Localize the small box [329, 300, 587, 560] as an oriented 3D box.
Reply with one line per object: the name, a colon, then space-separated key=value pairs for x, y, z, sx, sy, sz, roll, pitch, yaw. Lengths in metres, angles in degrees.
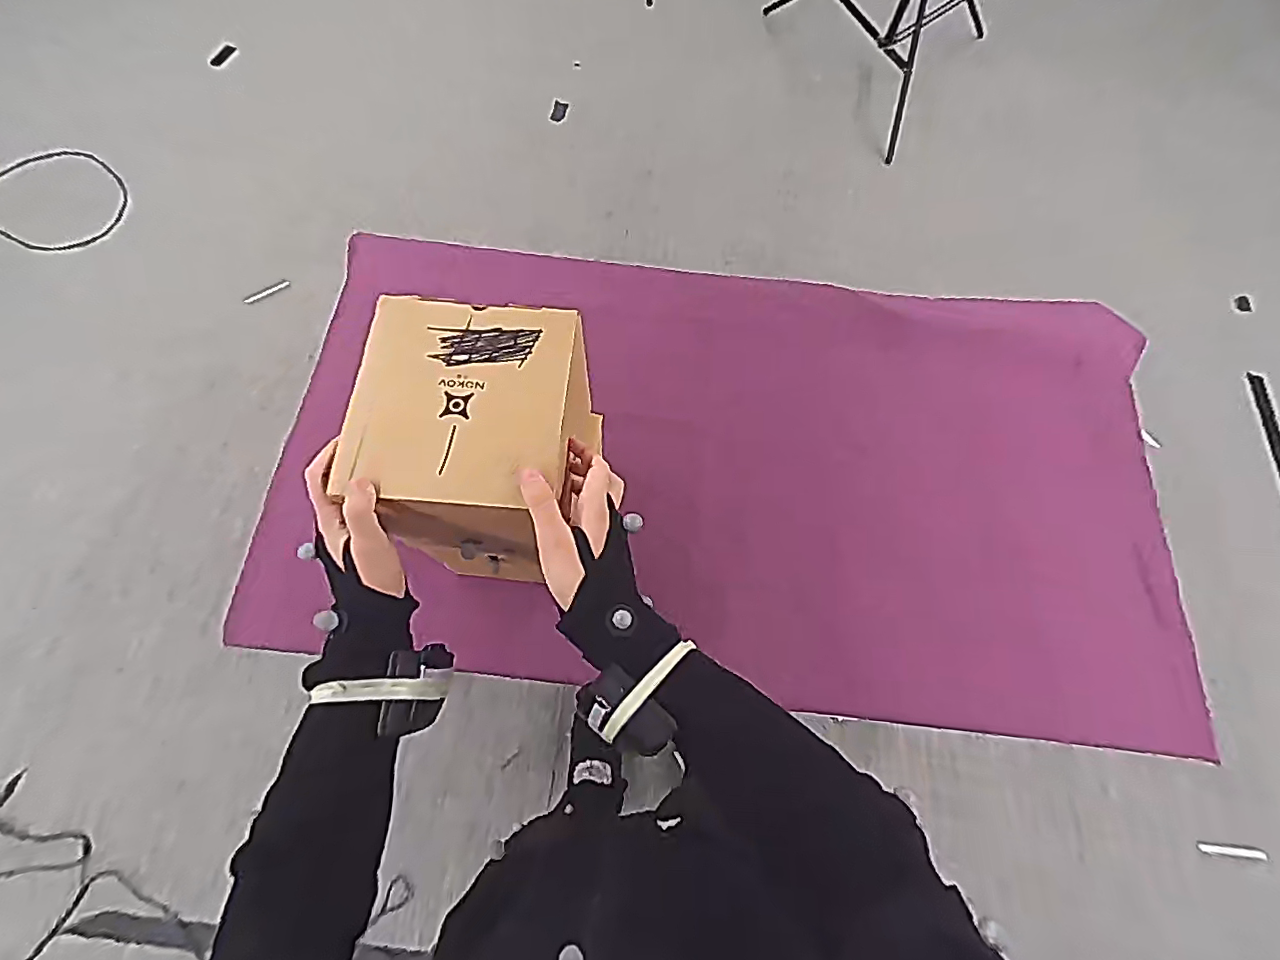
small box: x=-0.141 y=-0.035 z=0.494 sx=0.168 sy=0.176 sz=0.179 roll=4 pitch=70 yaw=0

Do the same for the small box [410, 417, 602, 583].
small box: x=-0.141 y=0.024 z=0.647 sx=0.179 sy=0.176 sz=0.168 roll=6 pitch=70 yaw=1
